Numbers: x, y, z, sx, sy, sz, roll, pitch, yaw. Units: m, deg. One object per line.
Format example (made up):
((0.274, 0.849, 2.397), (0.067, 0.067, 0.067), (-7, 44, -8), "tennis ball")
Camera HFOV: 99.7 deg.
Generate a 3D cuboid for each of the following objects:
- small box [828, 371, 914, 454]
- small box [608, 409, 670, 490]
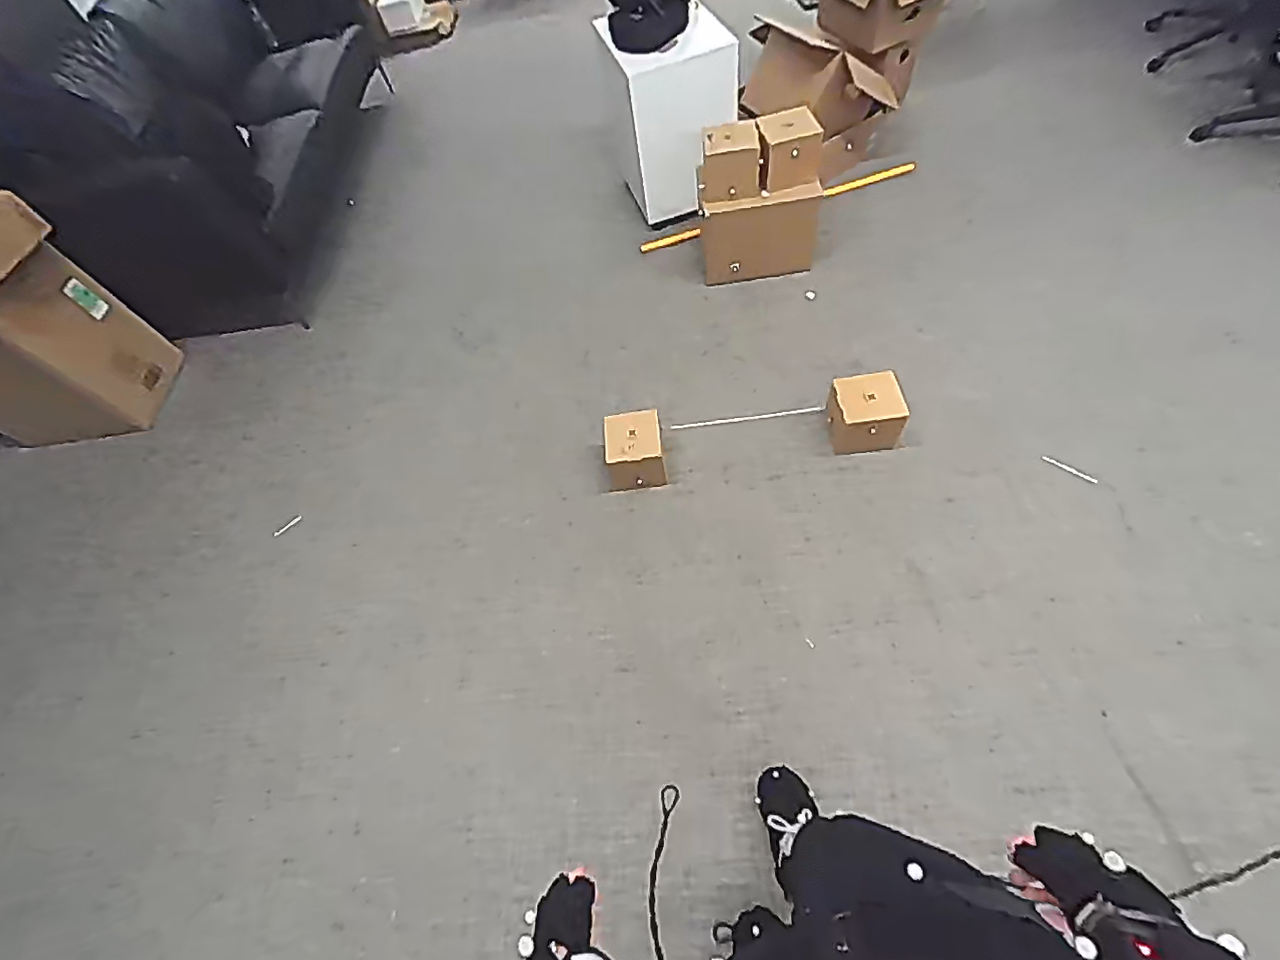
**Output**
((0.672, -0.195, 1.593), (0.179, 0.176, 0.168), (-8, 59, 6), "small box")
((-0.003, -0.091, 1.651), (0.168, 0.176, 0.179), (-8, 59, 6), "small box")
